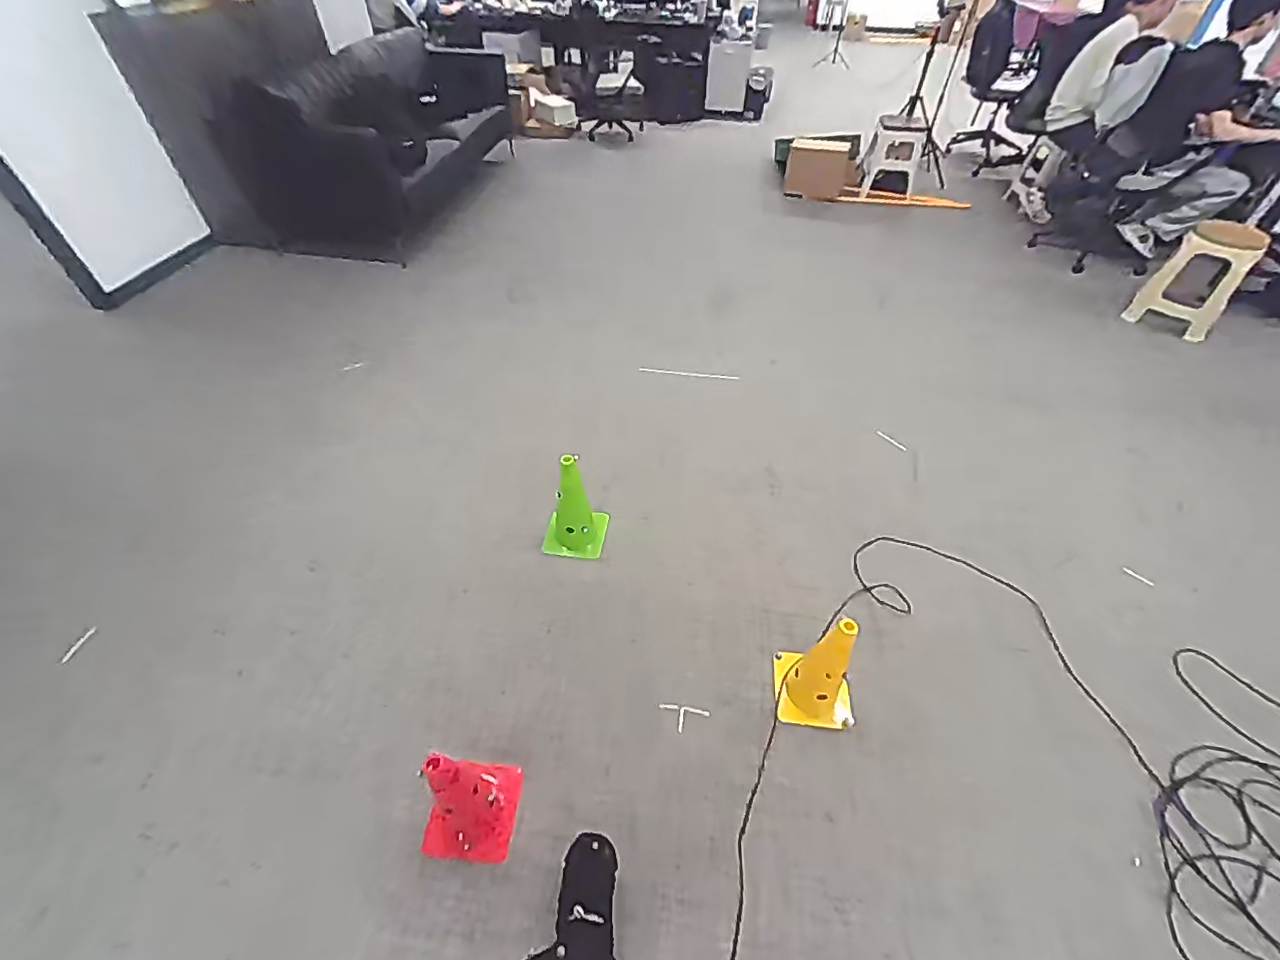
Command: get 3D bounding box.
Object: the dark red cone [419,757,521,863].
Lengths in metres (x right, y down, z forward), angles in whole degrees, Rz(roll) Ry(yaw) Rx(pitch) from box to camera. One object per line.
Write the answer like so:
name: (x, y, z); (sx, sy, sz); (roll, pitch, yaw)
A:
dark red cone: (-0.387, 0.655, 1.136); (0.202, 0.394, 0.201); (3, 48, 3)

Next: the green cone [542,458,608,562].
green cone: (-0.215, 0.073, 1.726); (0.202, 0.368, 0.200); (7, 47, 4)
